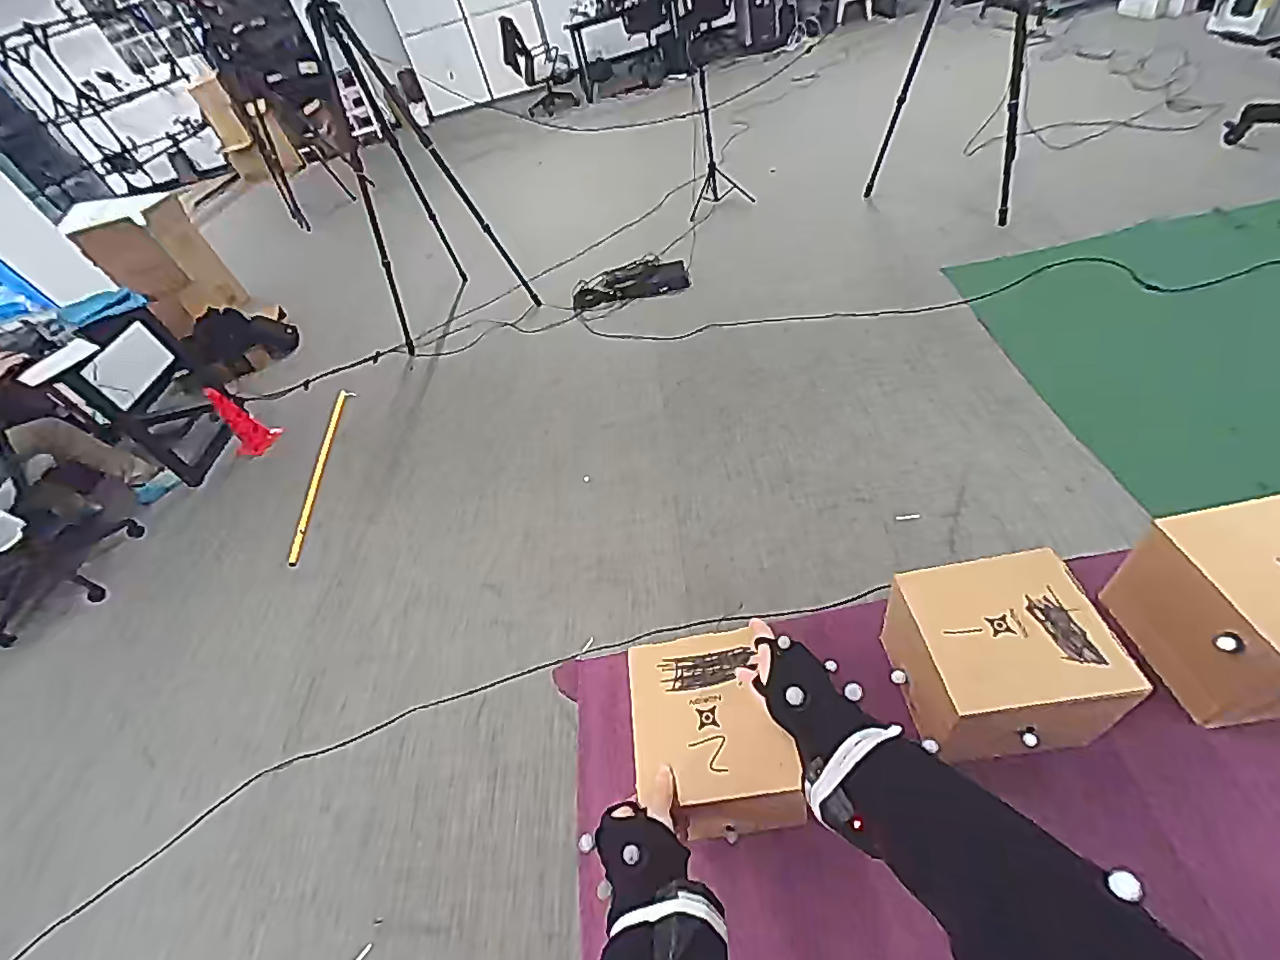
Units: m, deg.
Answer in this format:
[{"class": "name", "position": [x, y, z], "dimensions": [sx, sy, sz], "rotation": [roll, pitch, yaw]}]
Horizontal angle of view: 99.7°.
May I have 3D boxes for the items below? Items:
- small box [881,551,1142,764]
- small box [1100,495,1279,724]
[{"class": "small box", "position": [0.398, 0.208, 0.623], "dimensions": [0.179, 0.176, 0.168], "rotation": [-13, 45, 7]}, {"class": "small box", "position": [0.672, 0.143, 0.598], "dimensions": [0.168, 0.176, 0.179], "rotation": [-13, 47, 6]}]
